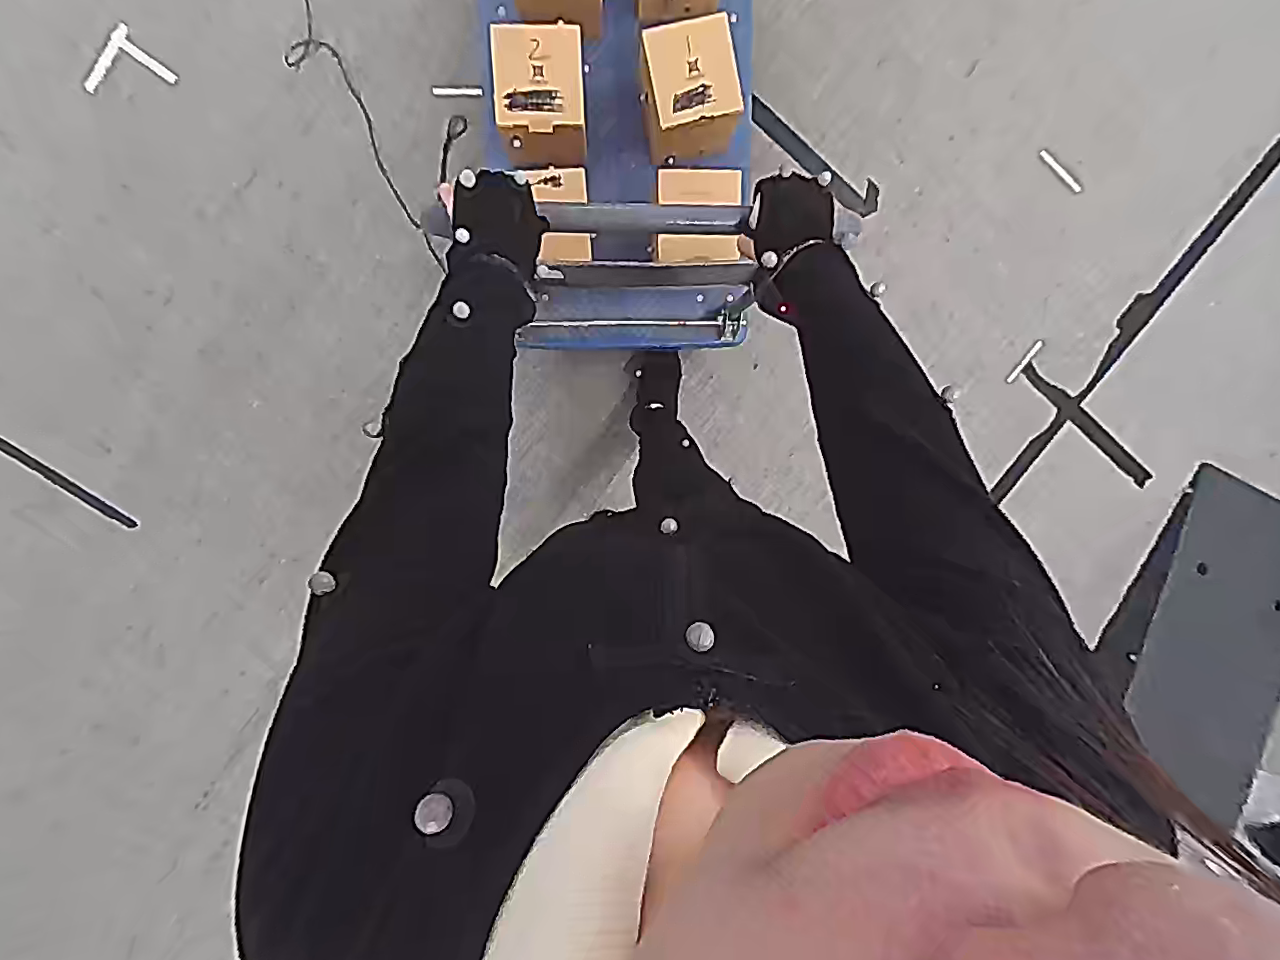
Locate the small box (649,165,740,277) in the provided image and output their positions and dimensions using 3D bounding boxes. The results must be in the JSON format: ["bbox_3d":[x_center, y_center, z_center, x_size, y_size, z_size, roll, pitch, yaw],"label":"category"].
[{"bbox_3d":[0.109,-0.534,1.137,0.168,0.176,0.179,-1,98,-4],"label":"small box"}]

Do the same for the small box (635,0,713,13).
[{"bbox_3d":[0.071,-1.058,1.056,0.168,0.176,0.179,-4,99,-3],"label":"small box"}]

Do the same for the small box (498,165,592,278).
[{"bbox_3d":[-0.189,-0.522,1.117,0.168,0.176,0.179,-5,99,-4],"label":"small box"}]

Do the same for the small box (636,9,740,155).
[{"bbox_3d":[0.091,-0.789,1.097,0.168,0.176,0.179,-13,98,-2],"label":"small box"}]

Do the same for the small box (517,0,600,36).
[{"bbox_3d":[-0.160,-1.016,1.045,0.168,0.176,0.179,0,99,-4],"label":"small box"}]
